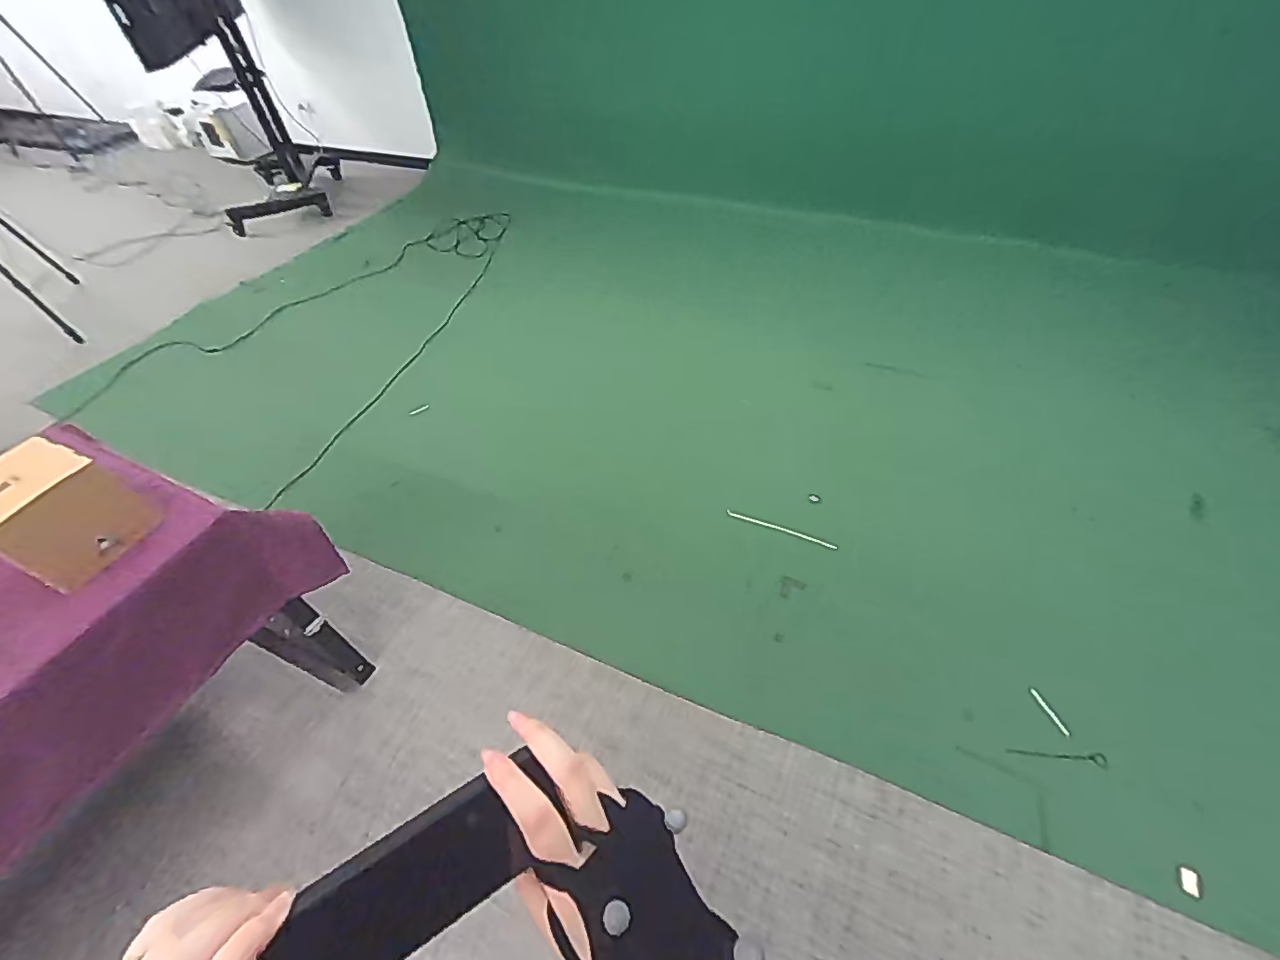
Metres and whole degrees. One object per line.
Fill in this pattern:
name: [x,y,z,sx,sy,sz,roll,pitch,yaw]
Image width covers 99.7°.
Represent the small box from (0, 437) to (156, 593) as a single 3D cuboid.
small box: [-0.996,0.060,0.929,0.168,0.176,0.179,17,51,18]
